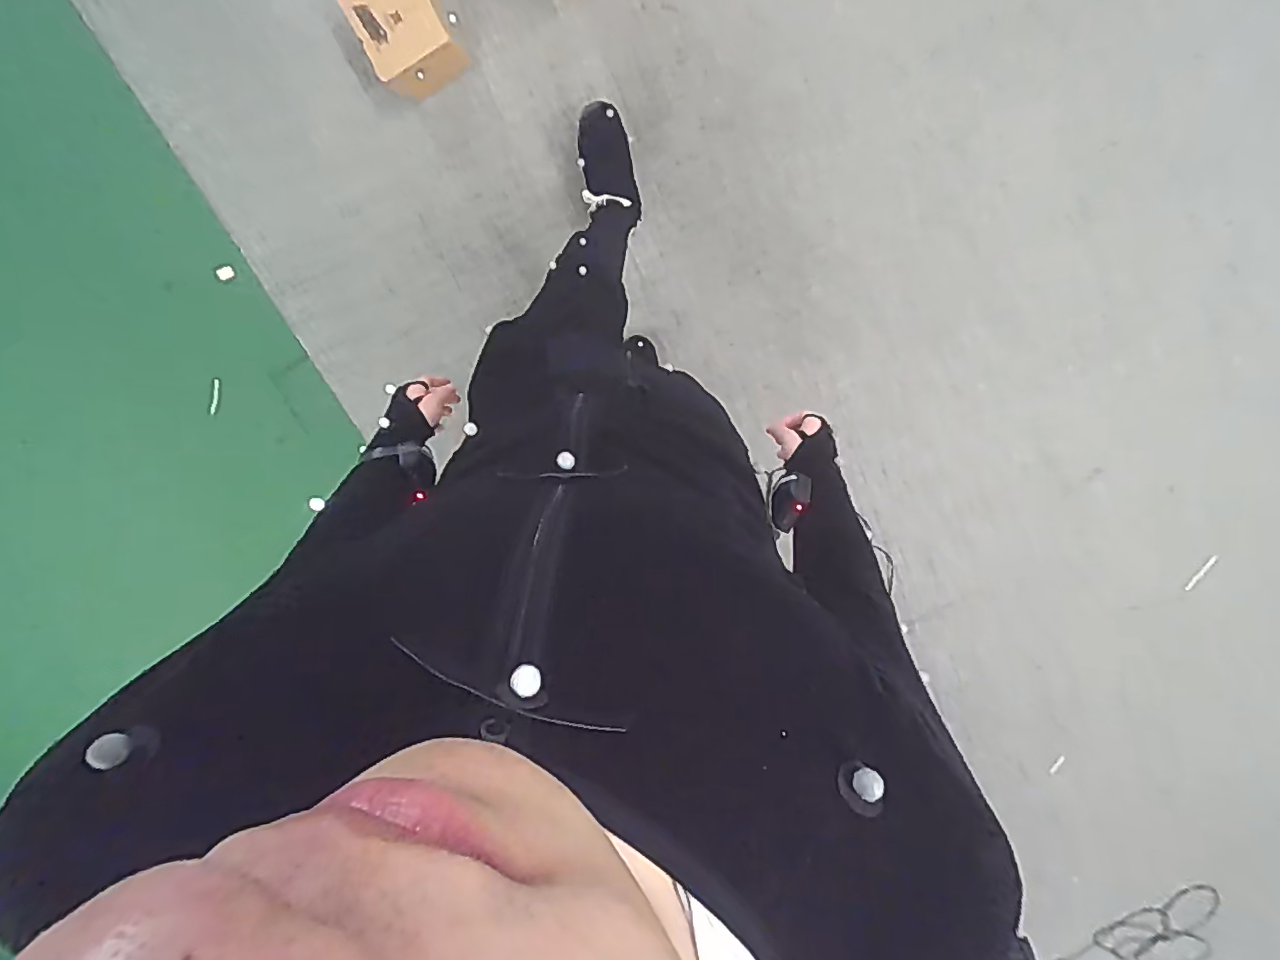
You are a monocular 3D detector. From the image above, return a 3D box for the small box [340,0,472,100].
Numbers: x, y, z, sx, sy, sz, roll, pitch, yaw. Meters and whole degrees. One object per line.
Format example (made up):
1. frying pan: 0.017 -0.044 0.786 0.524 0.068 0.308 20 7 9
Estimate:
1. small box: -0.502 -0.980 1.188 0.179 0.176 0.168 -24 110 10
